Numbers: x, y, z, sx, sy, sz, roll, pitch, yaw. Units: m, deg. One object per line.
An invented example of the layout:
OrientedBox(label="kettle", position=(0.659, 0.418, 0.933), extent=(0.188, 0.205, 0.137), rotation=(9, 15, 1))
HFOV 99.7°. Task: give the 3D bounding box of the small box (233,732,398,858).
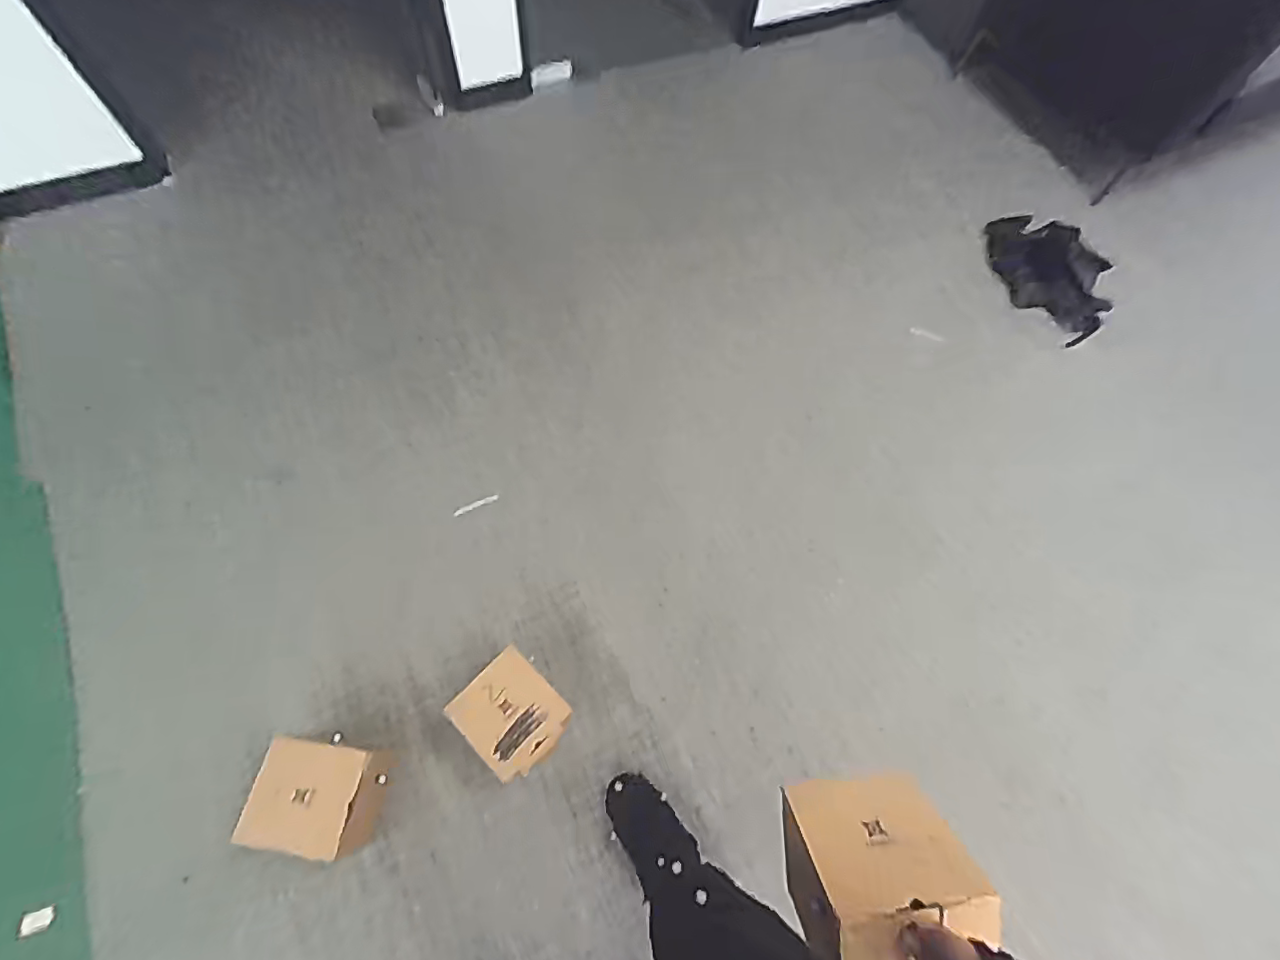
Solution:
OrientedBox(label="small box", position=(-0.573, 0.563, 0.988), extent=(0.179, 0.176, 0.168), rotation=(10, 64, 1))
